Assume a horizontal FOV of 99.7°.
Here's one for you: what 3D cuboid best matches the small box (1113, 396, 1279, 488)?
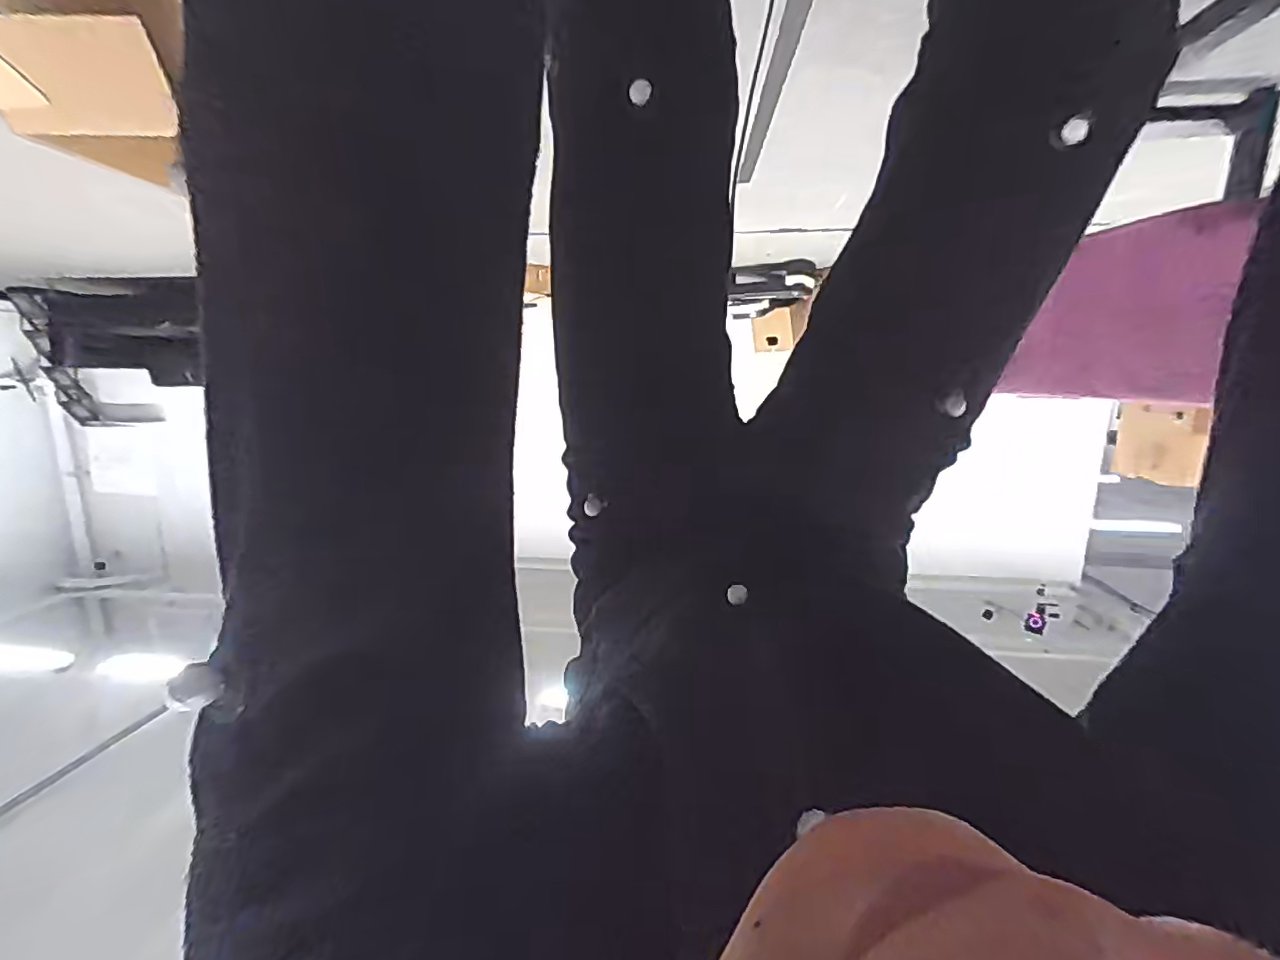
[{"bbox_3d":[1.118,-0.084,1.088,0.179,0.176,0.168,0,-168,2],"label":"small box"}]
